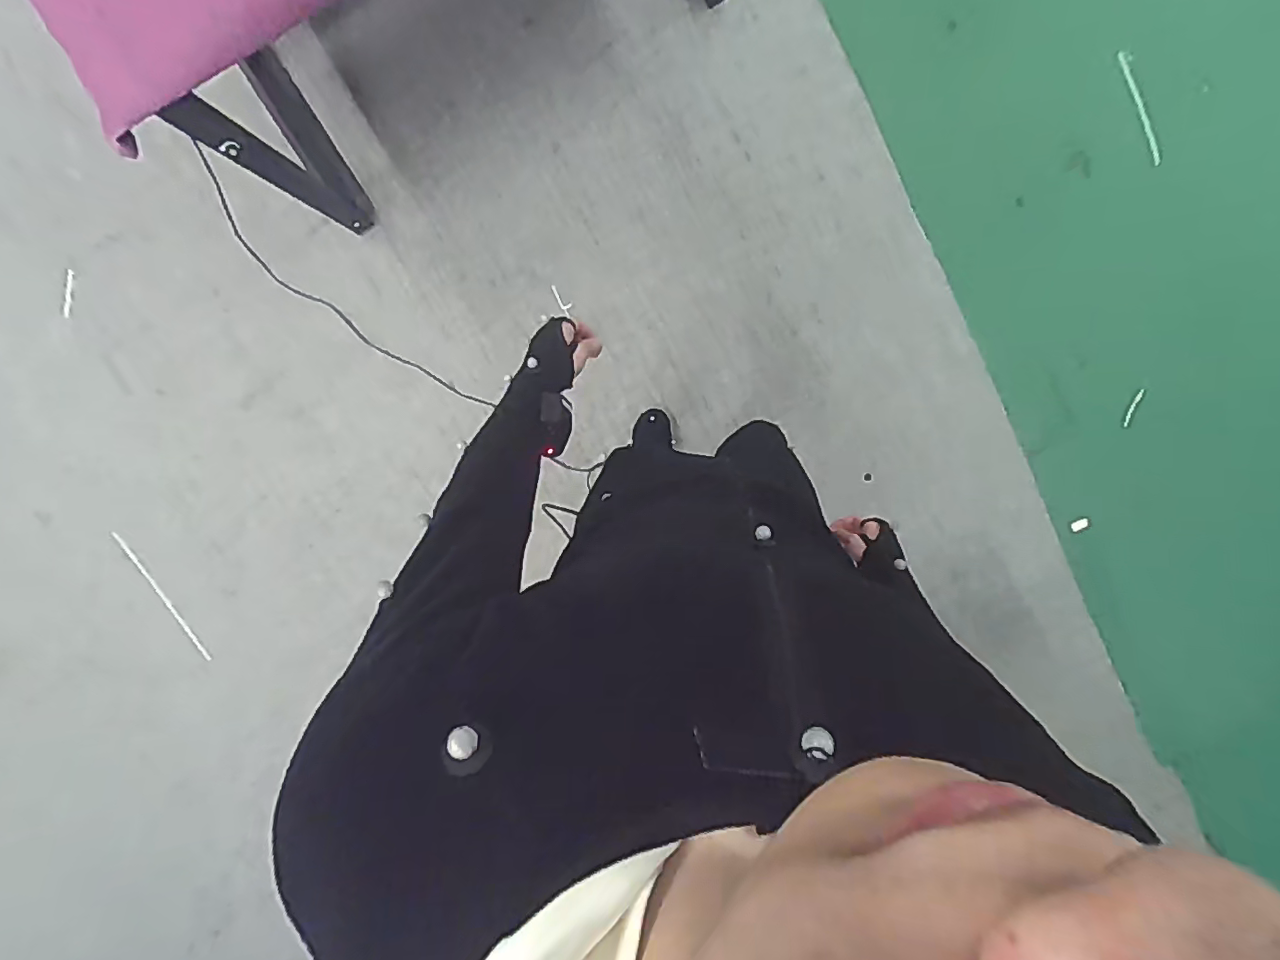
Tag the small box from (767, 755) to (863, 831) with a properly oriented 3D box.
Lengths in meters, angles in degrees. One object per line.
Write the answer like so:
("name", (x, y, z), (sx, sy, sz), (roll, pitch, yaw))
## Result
("small box", (0.415, 0.768, 1.241), (0.168, 0.176, 0.179), (-29, 99, 3))
